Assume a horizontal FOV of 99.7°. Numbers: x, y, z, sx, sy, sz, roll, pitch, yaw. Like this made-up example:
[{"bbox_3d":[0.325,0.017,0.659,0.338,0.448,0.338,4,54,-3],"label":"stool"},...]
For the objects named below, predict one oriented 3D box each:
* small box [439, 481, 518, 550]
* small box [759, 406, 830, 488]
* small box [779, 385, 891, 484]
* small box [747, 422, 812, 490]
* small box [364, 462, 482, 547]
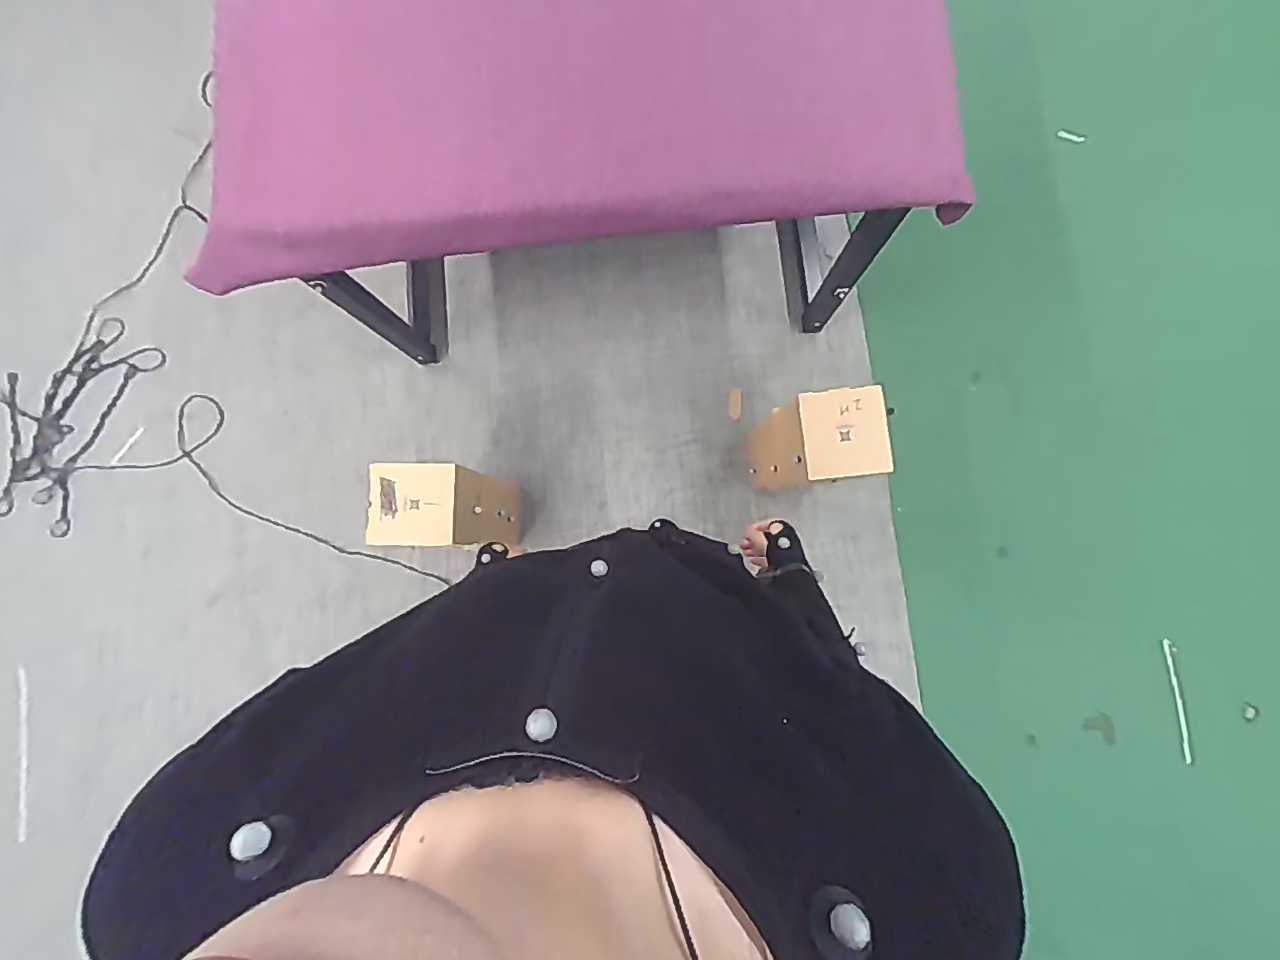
[{"bbox_3d":[-0.433,0.097,1.468,0.168,0.176,0.179,-2,85,2],"label":"small box"},{"bbox_3d":[0.387,-0.080,1.293,0.168,0.176,0.179,-7,85,1],"label":"small box"},{"bbox_3d":[0.397,-0.087,1.128,0.168,0.176,0.179,-6,85,0],"label":"small box"},{"bbox_3d":[0.388,-0.065,1.454,0.179,0.176,0.168,-4,84,1],"label":"small box"},{"bbox_3d":[-0.449,0.056,1.141,0.179,0.176,0.168,0,84,2],"label":"small box"}]
